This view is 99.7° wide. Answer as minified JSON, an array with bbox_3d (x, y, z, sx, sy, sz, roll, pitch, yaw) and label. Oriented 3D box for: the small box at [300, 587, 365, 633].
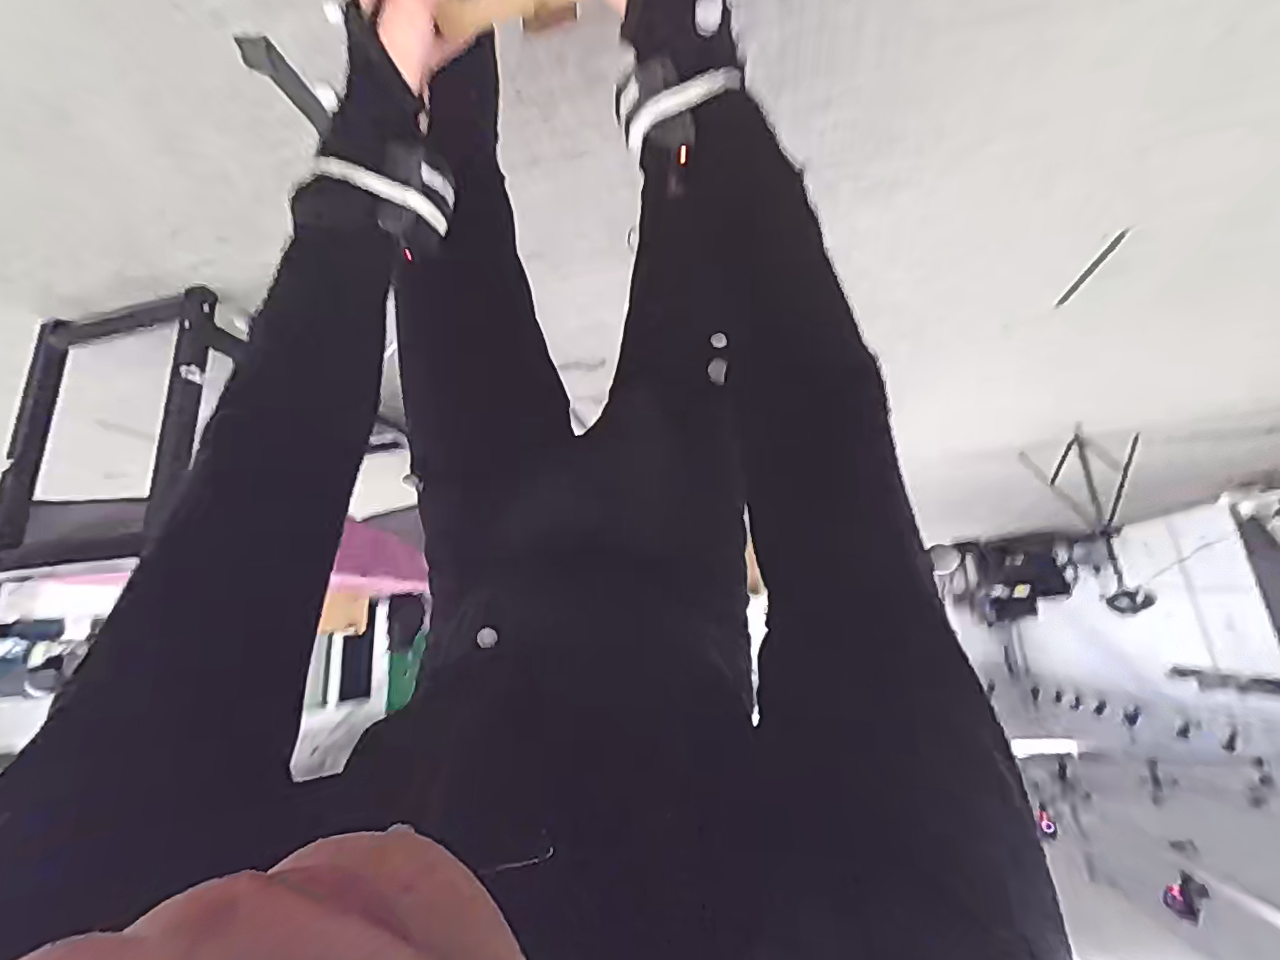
[{"bbox_3d":[-1.265,0.541,2.237,0.179,0.176,0.168,-7,165,9],"label":"small box"}]
